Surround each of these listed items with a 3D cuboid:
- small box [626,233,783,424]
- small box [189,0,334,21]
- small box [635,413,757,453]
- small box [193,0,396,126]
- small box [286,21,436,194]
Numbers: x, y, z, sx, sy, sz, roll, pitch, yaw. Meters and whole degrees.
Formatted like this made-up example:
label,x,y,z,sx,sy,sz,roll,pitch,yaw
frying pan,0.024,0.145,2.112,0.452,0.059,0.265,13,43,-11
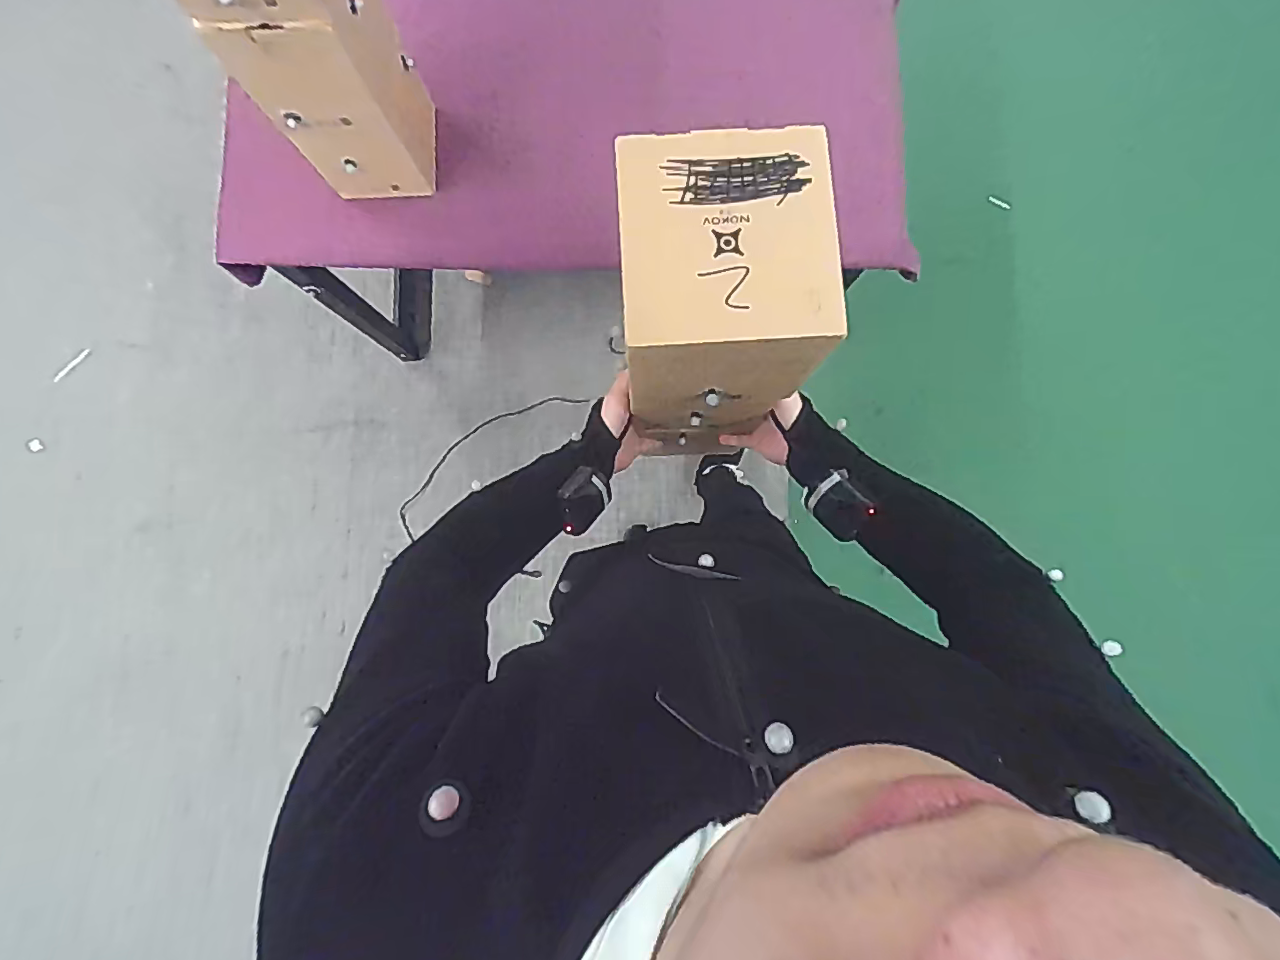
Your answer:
label,x,y,z,sx,sy,sz,roll,pitch,yaw
small box,0.071,-0.168,0.648,0.168,0.176,0.179,0,82,1
small box,-0.436,-0.627,0.555,0.168,0.176,0.179,-1,85,0
small box,0.075,-0.143,0.812,0.168,0.176,0.179,-2,81,2
small box,-0.440,-0.604,0.717,0.168,0.176,0.179,-1,84,-1
small box,-0.442,-0.591,0.880,0.168,0.176,0.179,-2,85,0
